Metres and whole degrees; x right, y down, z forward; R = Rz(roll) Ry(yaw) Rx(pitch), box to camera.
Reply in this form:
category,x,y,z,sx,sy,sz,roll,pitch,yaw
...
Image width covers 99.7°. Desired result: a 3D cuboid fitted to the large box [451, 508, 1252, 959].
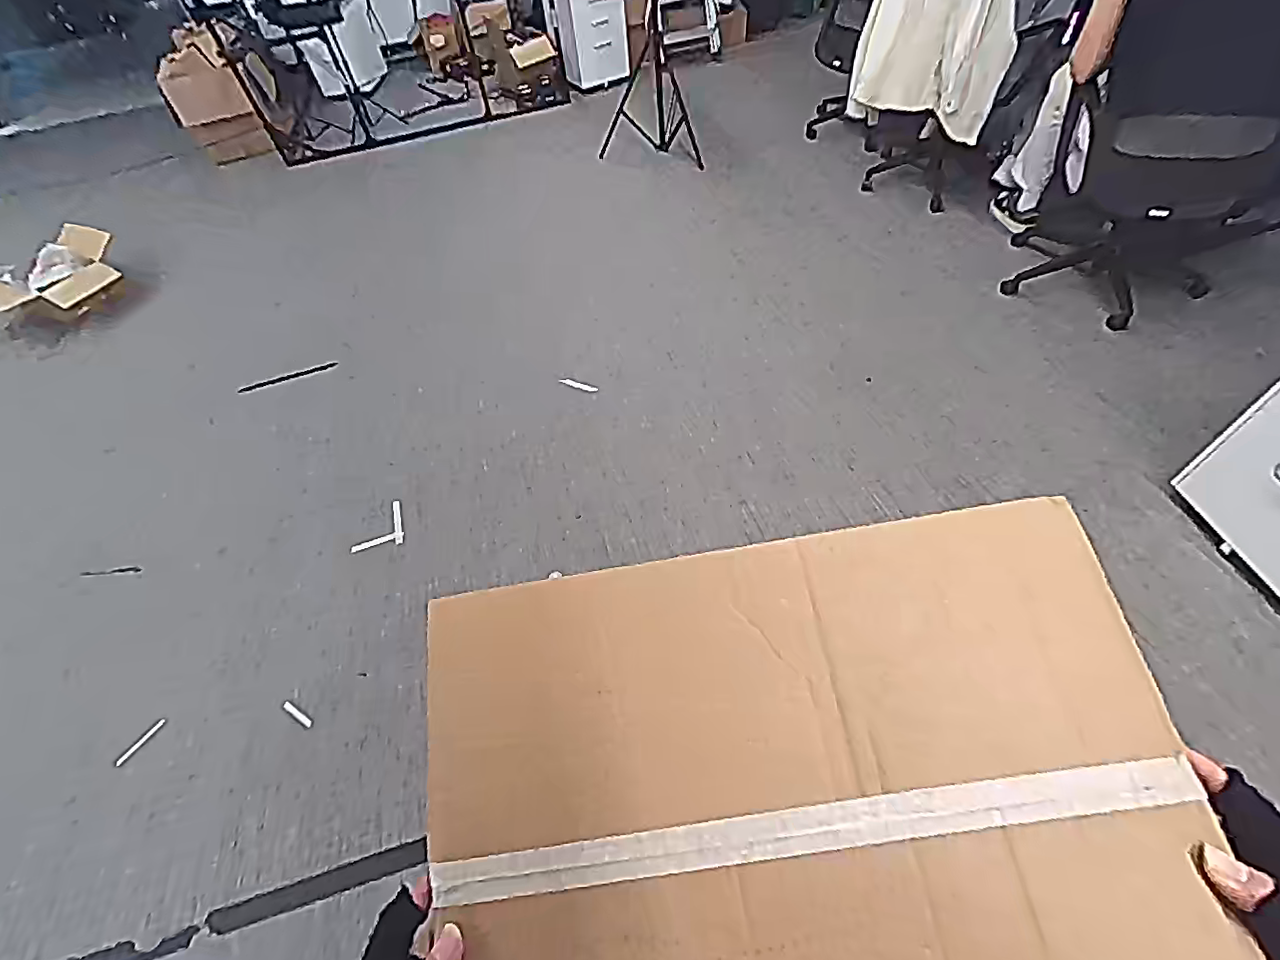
category,x,y,z,sx,sy,sz,roll,pitch,yaw
large box,0.105,0.245,0.439,0.408,0.320,0.320,-10,70,3
